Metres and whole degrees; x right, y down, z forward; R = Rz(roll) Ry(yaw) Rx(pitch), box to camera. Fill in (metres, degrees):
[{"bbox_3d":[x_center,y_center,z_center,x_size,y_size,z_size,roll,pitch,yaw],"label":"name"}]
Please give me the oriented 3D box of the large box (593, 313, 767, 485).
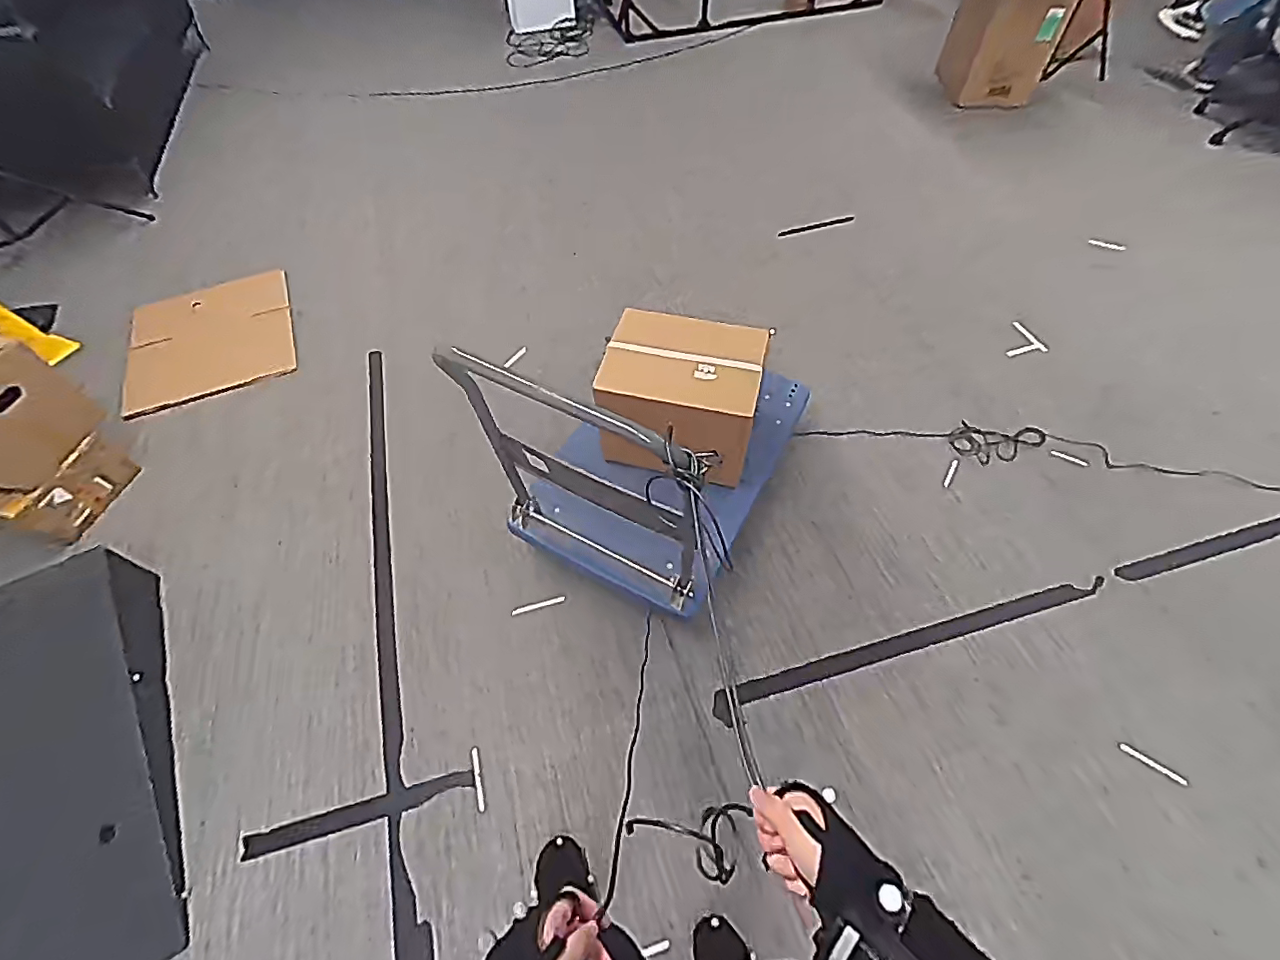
[{"bbox_3d":[0.111,-0.222,1.507,0.408,0.320,0.320,12,58,9],"label":"large box"}]
